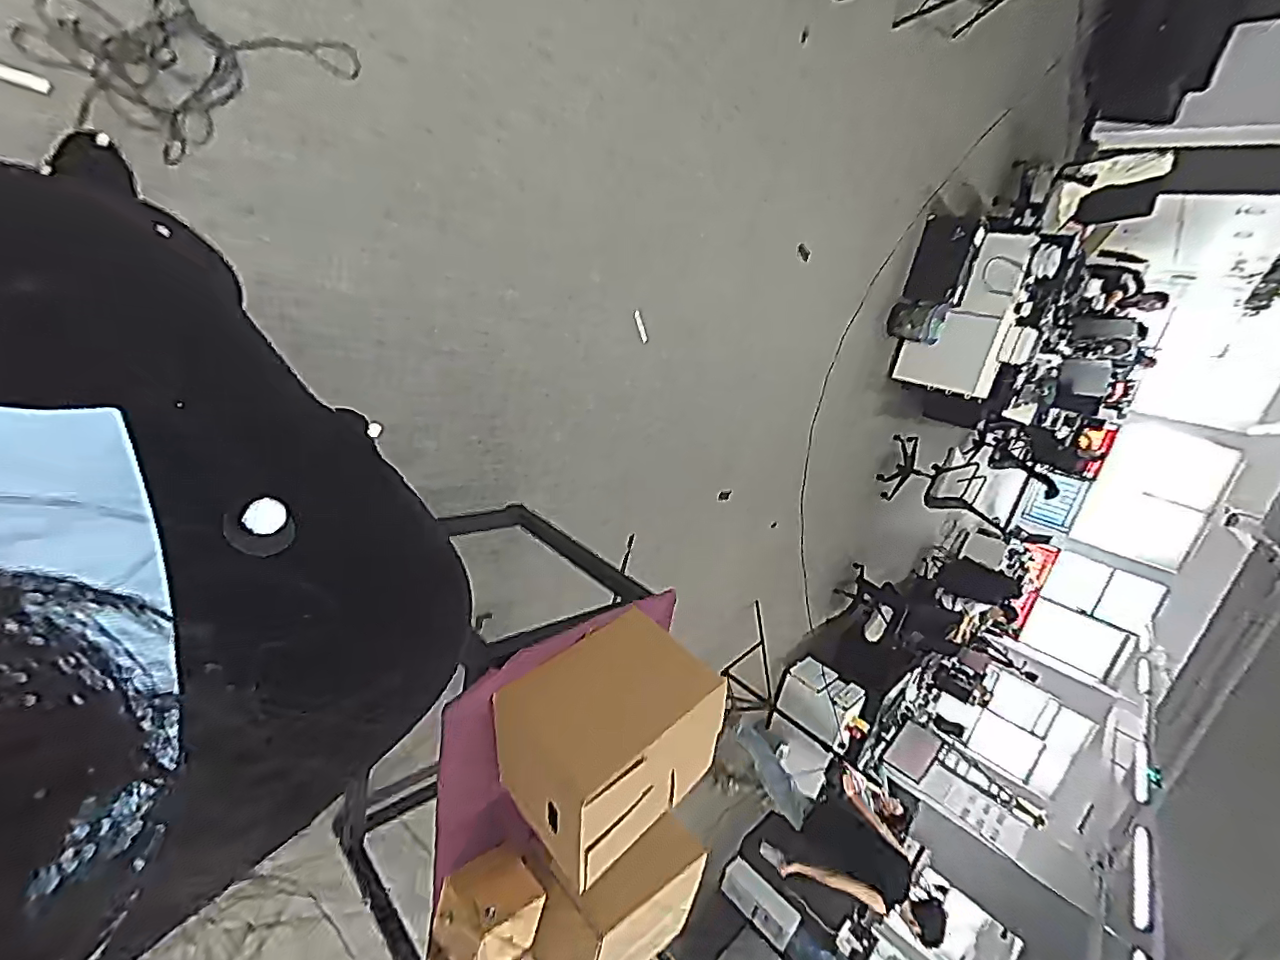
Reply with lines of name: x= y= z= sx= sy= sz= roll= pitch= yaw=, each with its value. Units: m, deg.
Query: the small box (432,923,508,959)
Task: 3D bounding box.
small box: x=-0.429 y=1.256 z=1.318 sx=0.179 sy=0.176 sz=0.168 roll=-1 pitch=112 yaw=-50
